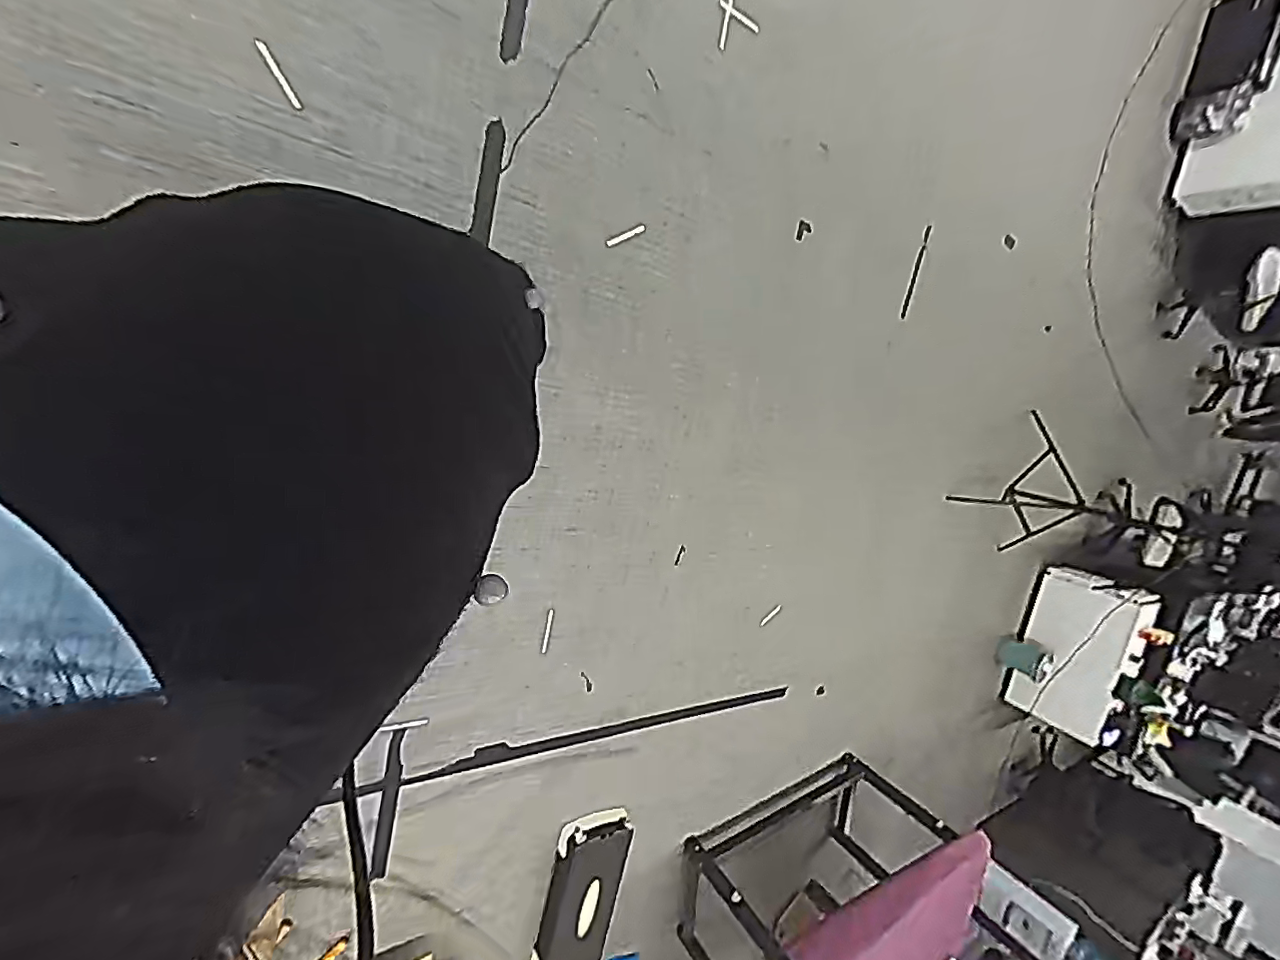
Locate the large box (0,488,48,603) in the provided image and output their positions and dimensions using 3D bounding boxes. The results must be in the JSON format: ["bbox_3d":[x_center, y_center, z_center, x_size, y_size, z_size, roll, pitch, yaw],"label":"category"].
[{"bbox_3d":[-1.139,0.051,0.707,0.320,0.320,0.408,-24,115,-27],"label":"large box"}]
